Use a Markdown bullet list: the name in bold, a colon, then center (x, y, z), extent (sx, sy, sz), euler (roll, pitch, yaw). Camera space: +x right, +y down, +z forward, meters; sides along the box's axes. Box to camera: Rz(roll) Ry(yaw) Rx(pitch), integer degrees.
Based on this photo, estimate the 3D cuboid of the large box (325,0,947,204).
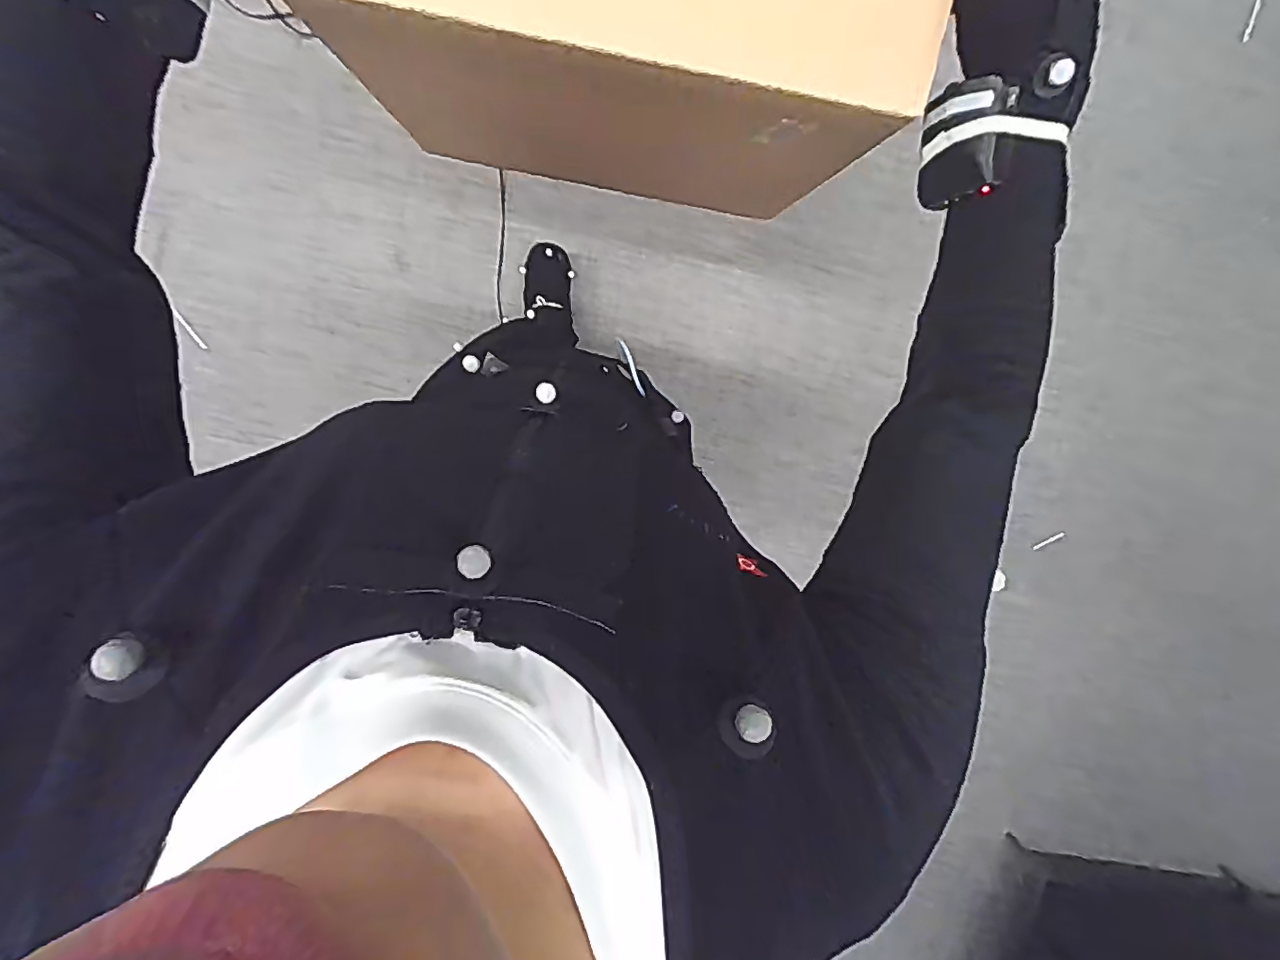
- **large box**: center (-0.001, -0.455, 0.441), extent (0.408, 0.320, 0.320), euler (7, 105, -8)
